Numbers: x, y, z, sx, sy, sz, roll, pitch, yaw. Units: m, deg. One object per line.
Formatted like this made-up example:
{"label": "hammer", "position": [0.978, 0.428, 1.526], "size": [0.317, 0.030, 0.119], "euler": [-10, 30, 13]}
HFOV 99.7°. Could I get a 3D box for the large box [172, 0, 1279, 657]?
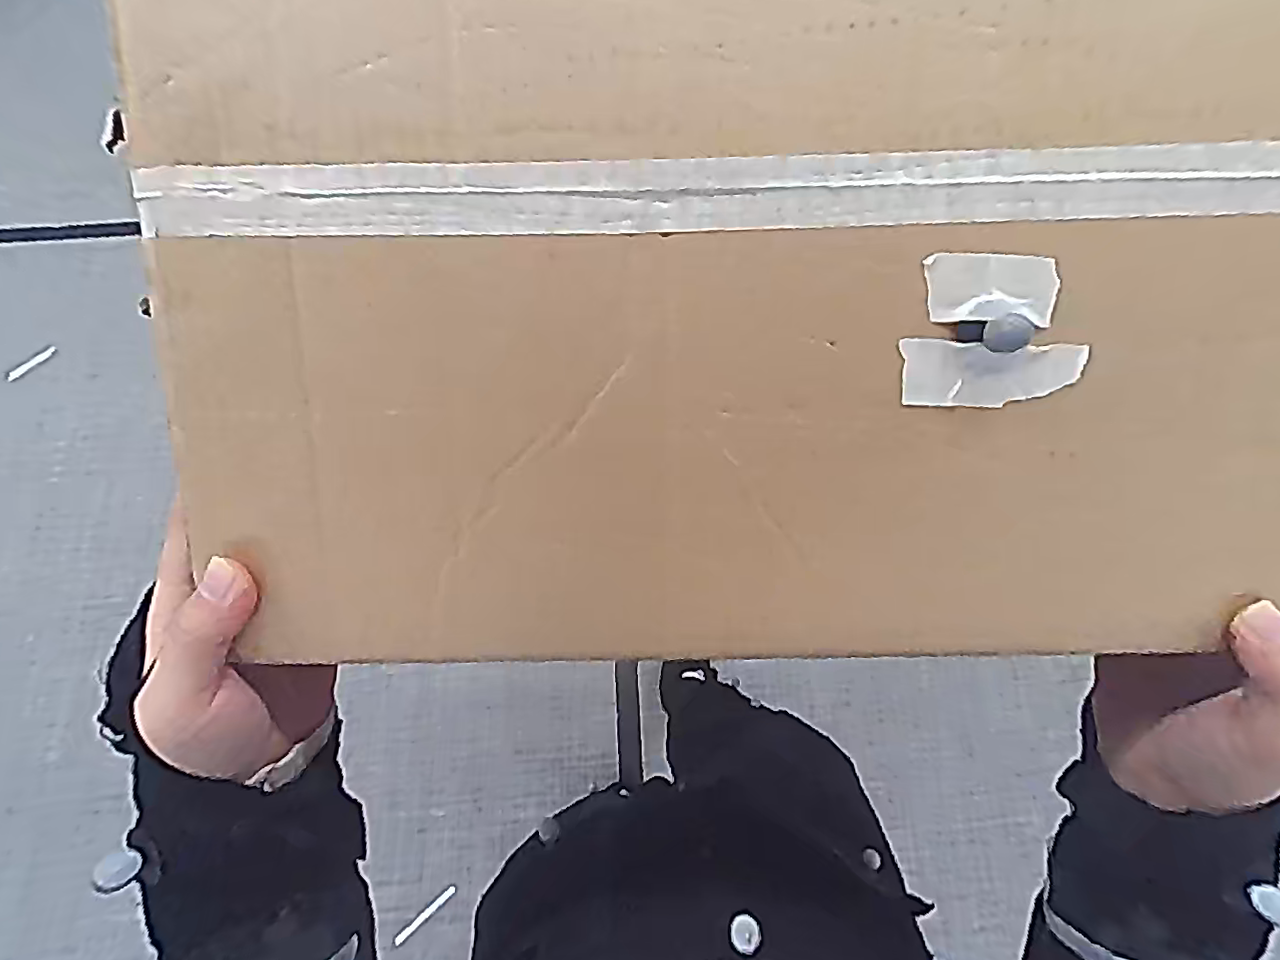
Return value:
{"label": "large box", "position": [0.045, -0.110, 0.333], "size": [0.408, 0.320, 0.320], "euler": [-1, 98, -1]}
